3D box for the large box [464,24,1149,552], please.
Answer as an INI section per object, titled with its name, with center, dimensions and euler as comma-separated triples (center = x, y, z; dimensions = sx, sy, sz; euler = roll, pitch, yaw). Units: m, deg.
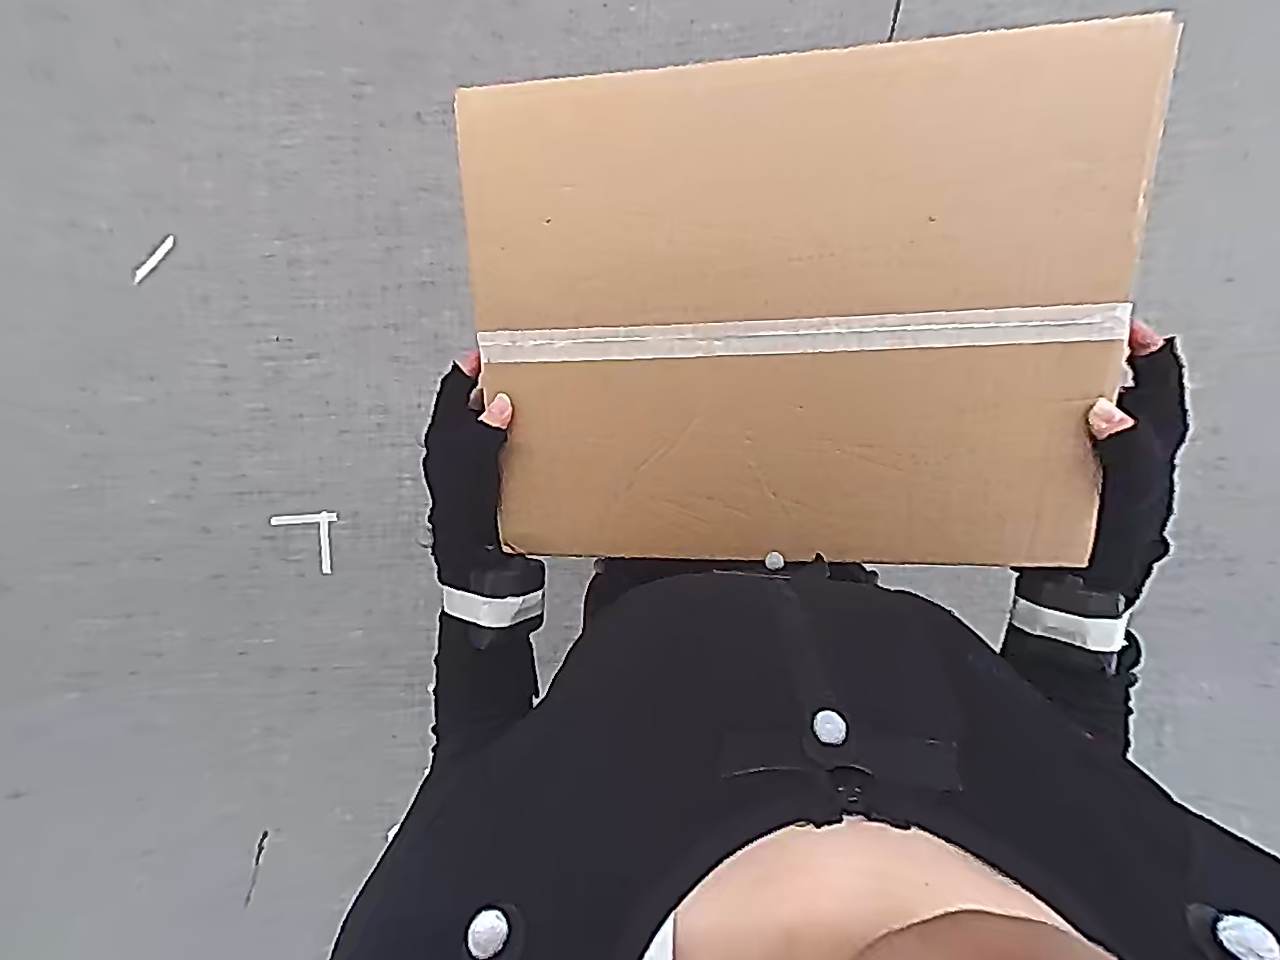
[large box]
center = 0.109, -0.136, 0.500
dimensions = 0.408, 0.320, 0.320
euler = 0, 104, 8
